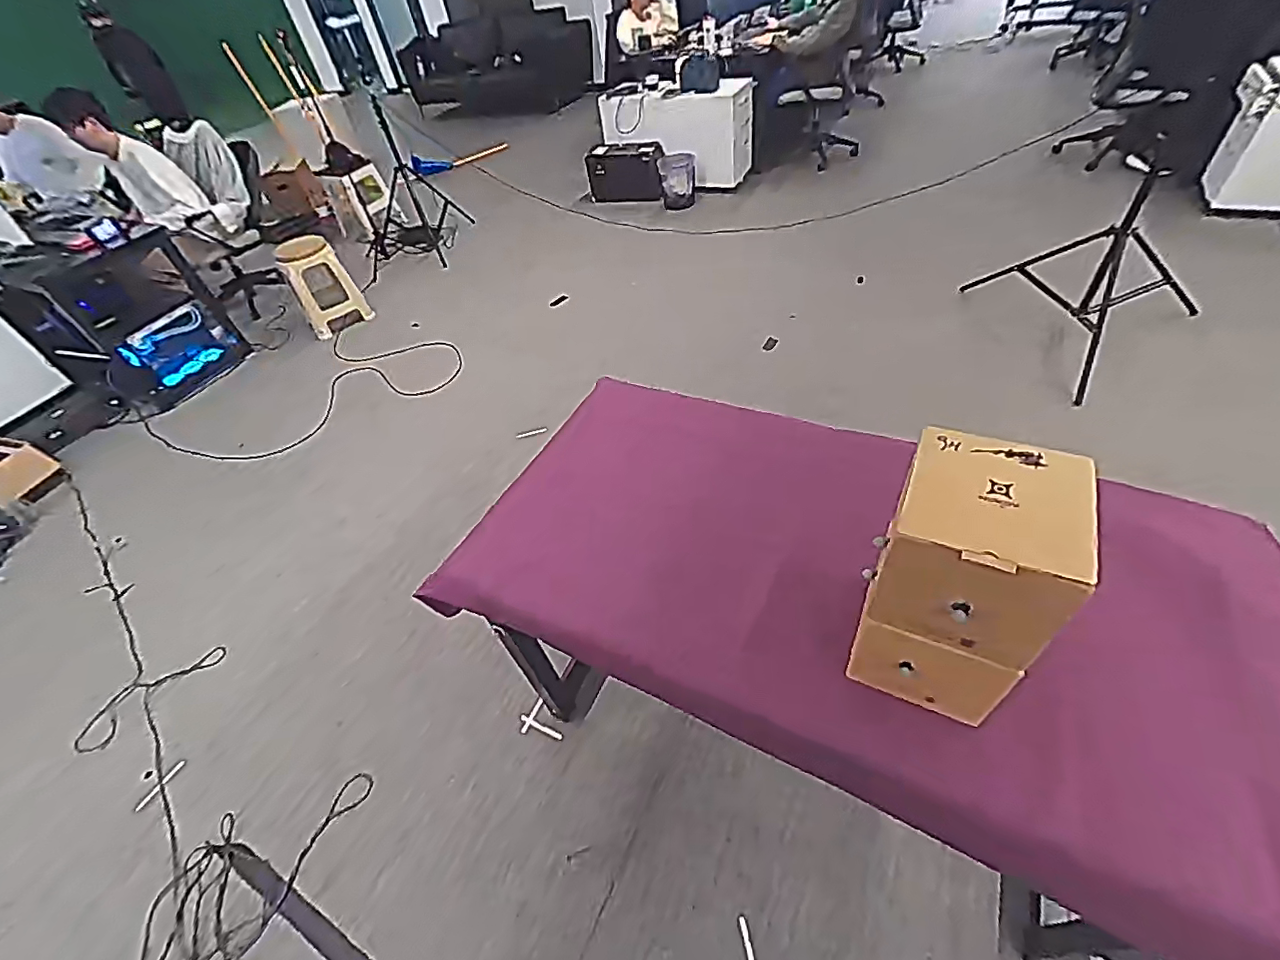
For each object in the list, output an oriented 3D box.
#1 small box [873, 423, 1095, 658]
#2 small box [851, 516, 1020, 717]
[{"bbox_3d":[0.373,0.068,0.606,0.168,0.176,0.179,17,52,24],"label":"small box"},{"bbox_3d":[0.391,0.183,0.722,0.168,0.176,0.179,16,51,24],"label":"small box"}]
